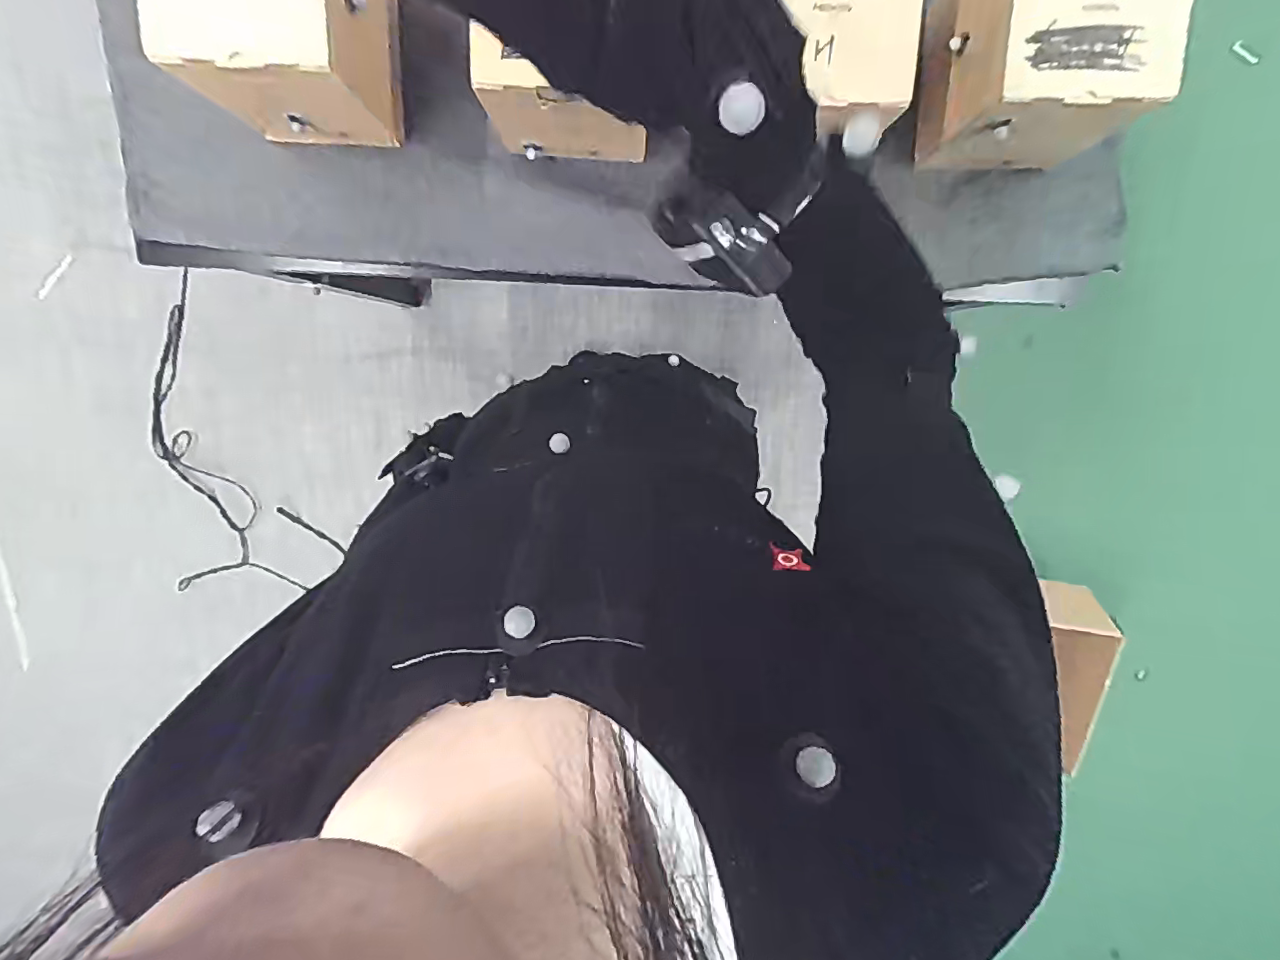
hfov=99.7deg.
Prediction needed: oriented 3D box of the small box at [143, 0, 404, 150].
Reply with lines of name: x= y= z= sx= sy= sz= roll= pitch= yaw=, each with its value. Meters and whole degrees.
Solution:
small box: x=-0.356 y=-0.470 z=0.551 sx=0.168 sy=0.176 sz=0.179 roll=1 pitch=101 yaw=-2

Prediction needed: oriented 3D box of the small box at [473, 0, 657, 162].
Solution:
small box: x=-0.068 y=-0.455 z=0.562 sx=0.168 sy=0.176 sz=0.179 roll=3 pitch=101 yaw=-2

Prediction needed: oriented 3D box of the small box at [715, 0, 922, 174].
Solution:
small box: x=0.174 y=-0.449 z=0.568 sx=0.168 sy=0.176 sz=0.179 roll=1 pitch=102 yaw=0
